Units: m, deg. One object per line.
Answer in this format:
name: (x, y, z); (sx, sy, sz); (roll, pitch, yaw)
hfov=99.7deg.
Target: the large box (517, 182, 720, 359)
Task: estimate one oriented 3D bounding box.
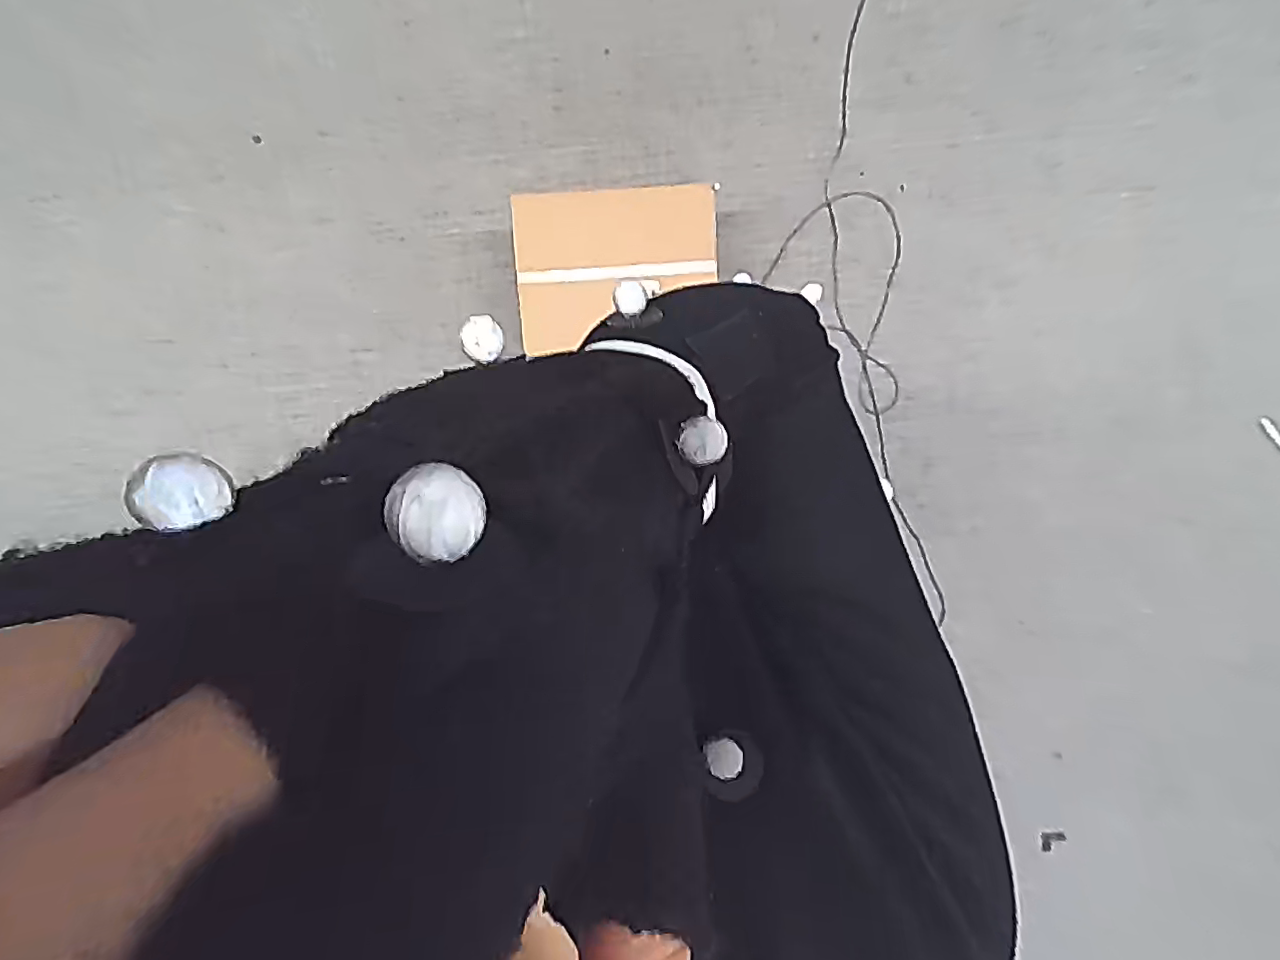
large box: (-0.039, -0.453, 1.242); (0.408, 0.320, 0.320); (-2, 101, 2)
